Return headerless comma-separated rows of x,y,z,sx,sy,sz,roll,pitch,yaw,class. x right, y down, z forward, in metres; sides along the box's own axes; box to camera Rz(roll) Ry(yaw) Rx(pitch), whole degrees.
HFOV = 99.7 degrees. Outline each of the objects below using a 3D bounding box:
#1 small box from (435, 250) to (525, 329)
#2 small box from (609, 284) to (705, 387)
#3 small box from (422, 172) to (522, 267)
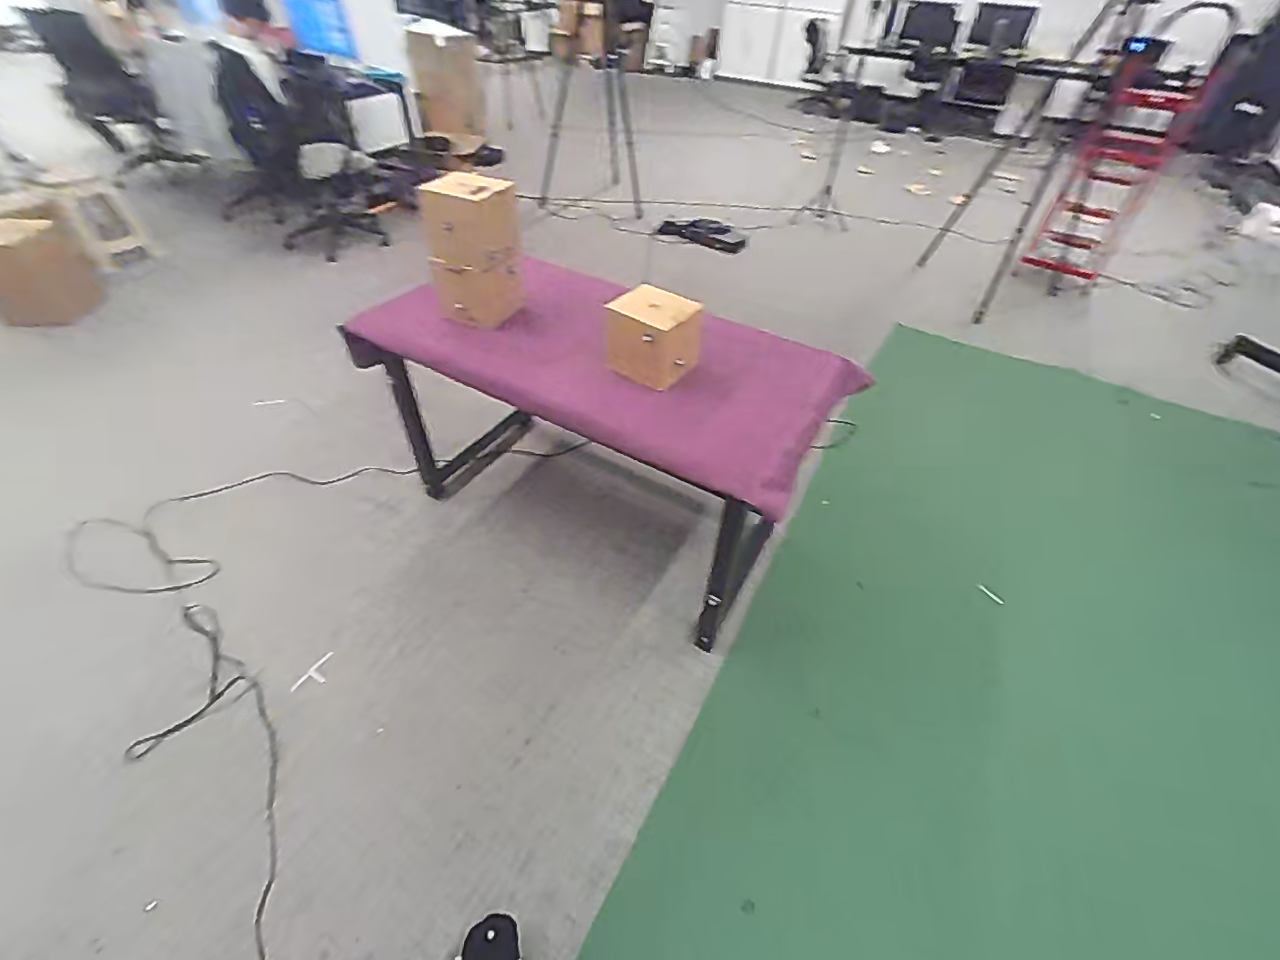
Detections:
-0.435,-0.548,1.504,0.168,0.176,0.179,19,47,16,small box
0.037,-0.356,1.337,0.179,0.176,0.168,29,50,24,small box
-0.420,-0.667,1.387,0.179,0.176,0.168,21,45,17,small box
